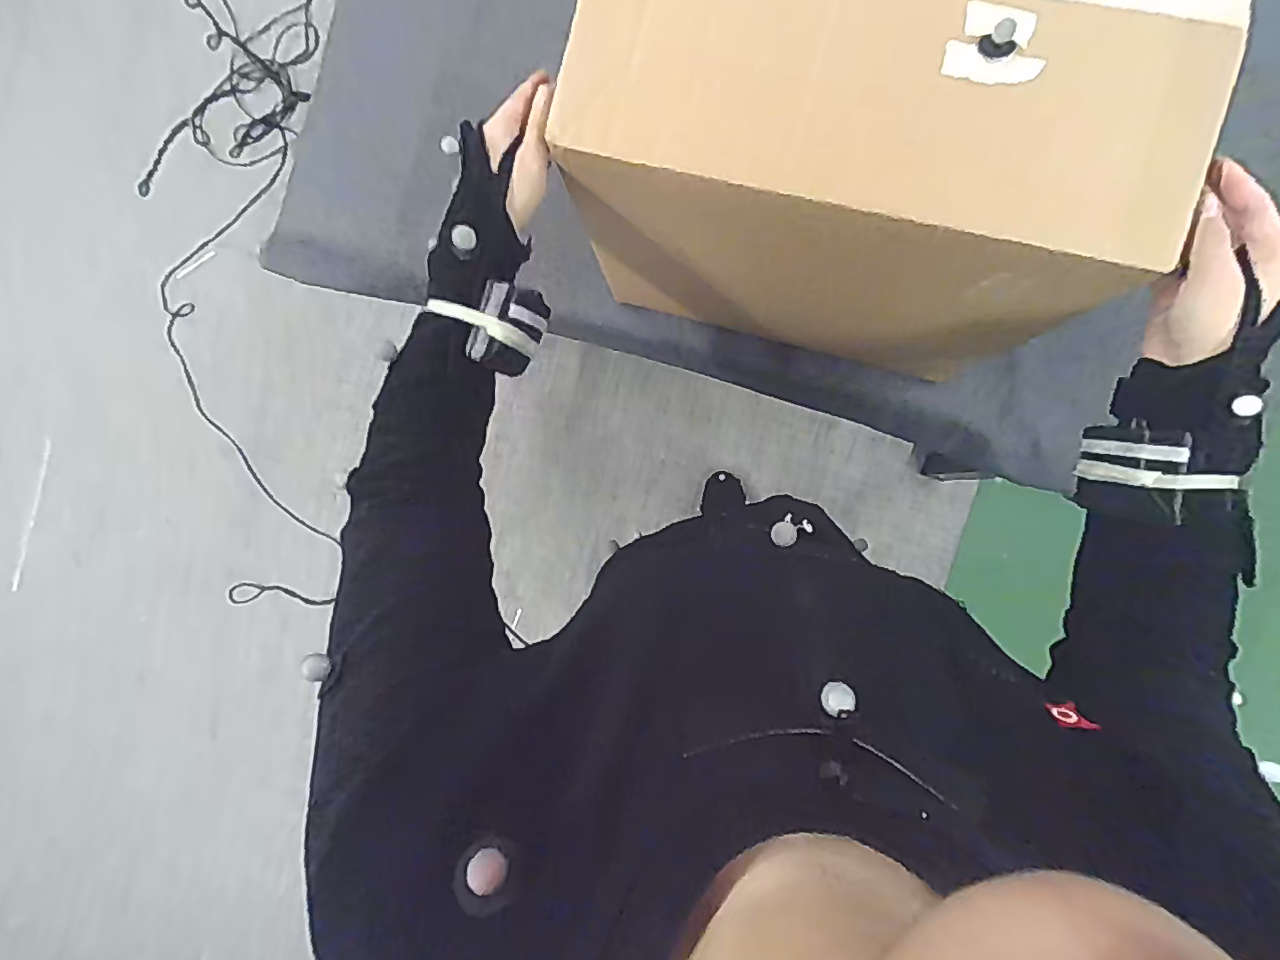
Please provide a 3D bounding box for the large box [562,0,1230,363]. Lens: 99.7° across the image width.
[{"bbox_3d":[0.183,-0.332,0.503,0.408,0.320,0.320,15,91,5],"label":"large box"}]
